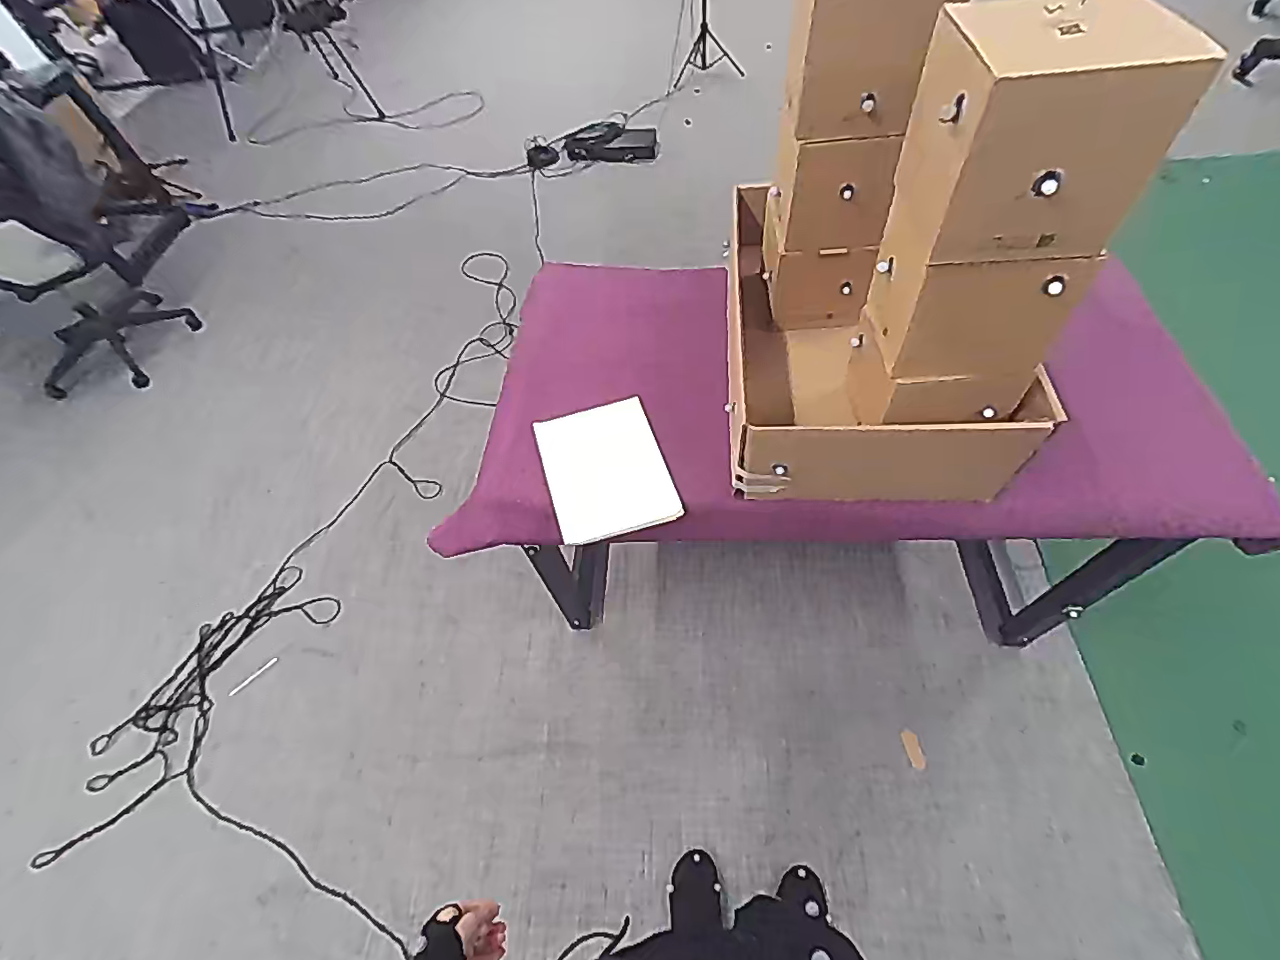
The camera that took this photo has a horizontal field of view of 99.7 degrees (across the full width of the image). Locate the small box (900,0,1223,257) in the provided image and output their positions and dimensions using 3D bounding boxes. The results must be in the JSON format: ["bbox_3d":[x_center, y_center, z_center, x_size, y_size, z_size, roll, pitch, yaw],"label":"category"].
[{"bbox_3d":[0.376,-0.337,0.530,0.168,0.176,0.179,0,54,7],"label":"small box"}]

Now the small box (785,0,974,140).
[{"bbox_3d":[0.295,-0.570,0.703,0.179,0.176,0.168,1,57,5],"label":"small box"}]

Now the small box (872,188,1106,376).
[{"bbox_3d":[0.399,-0.242,0.664,0.179,0.176,0.168,0,55,7],"label":"small box"}]

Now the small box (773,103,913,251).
[{"bbox_3d":[0.312,-0.478,0.837,0.179,0.176,0.168,-2,57,5],"label":"small box"}]
